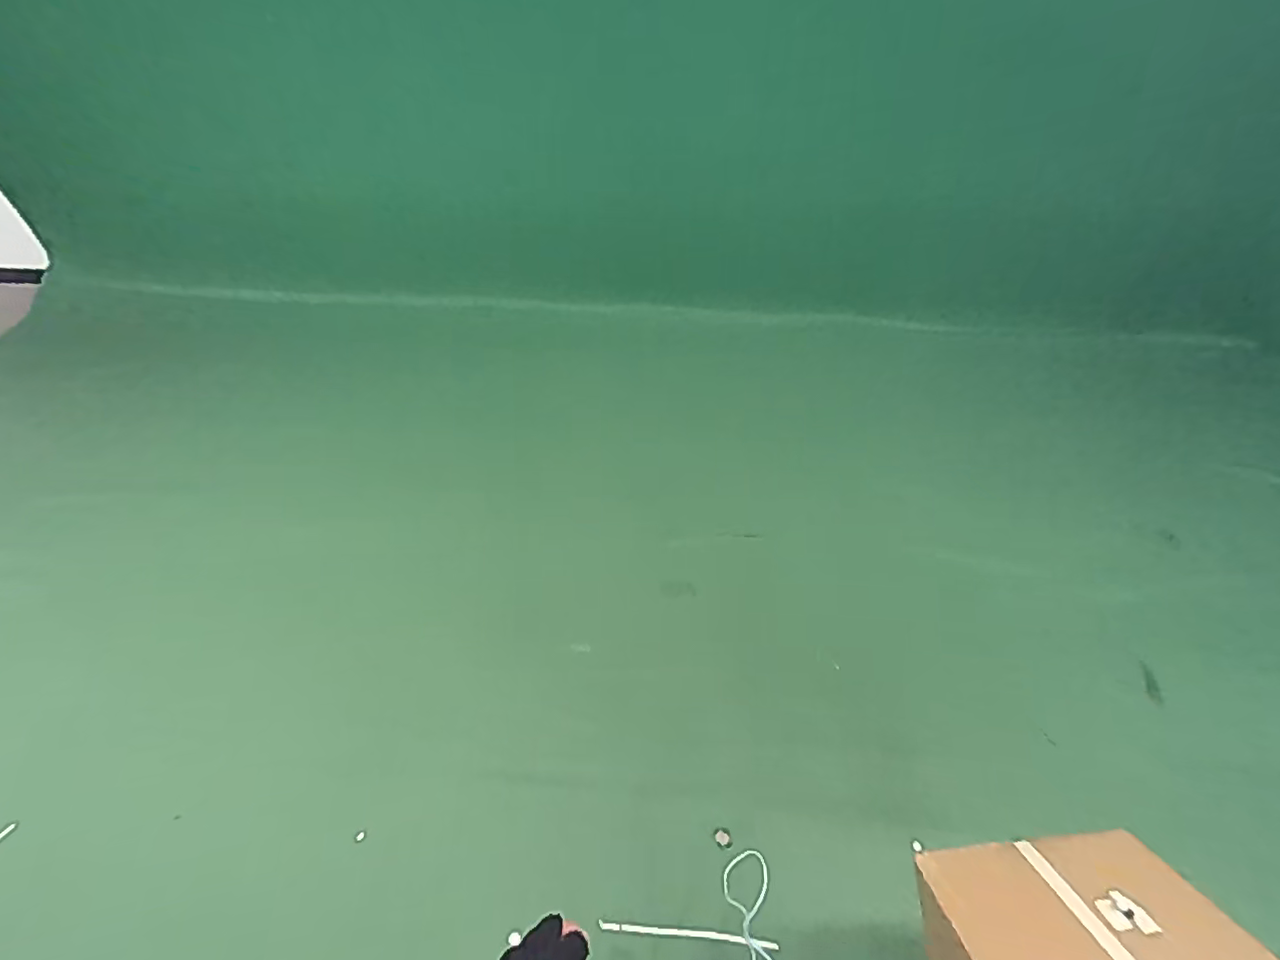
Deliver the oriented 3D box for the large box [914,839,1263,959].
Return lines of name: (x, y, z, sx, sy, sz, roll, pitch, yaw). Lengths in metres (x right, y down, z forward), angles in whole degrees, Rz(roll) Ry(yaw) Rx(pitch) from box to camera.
large box: (0.581, 0.714, 0.619, 0.320, 0.408, 0.320, -9, 92, 4)
